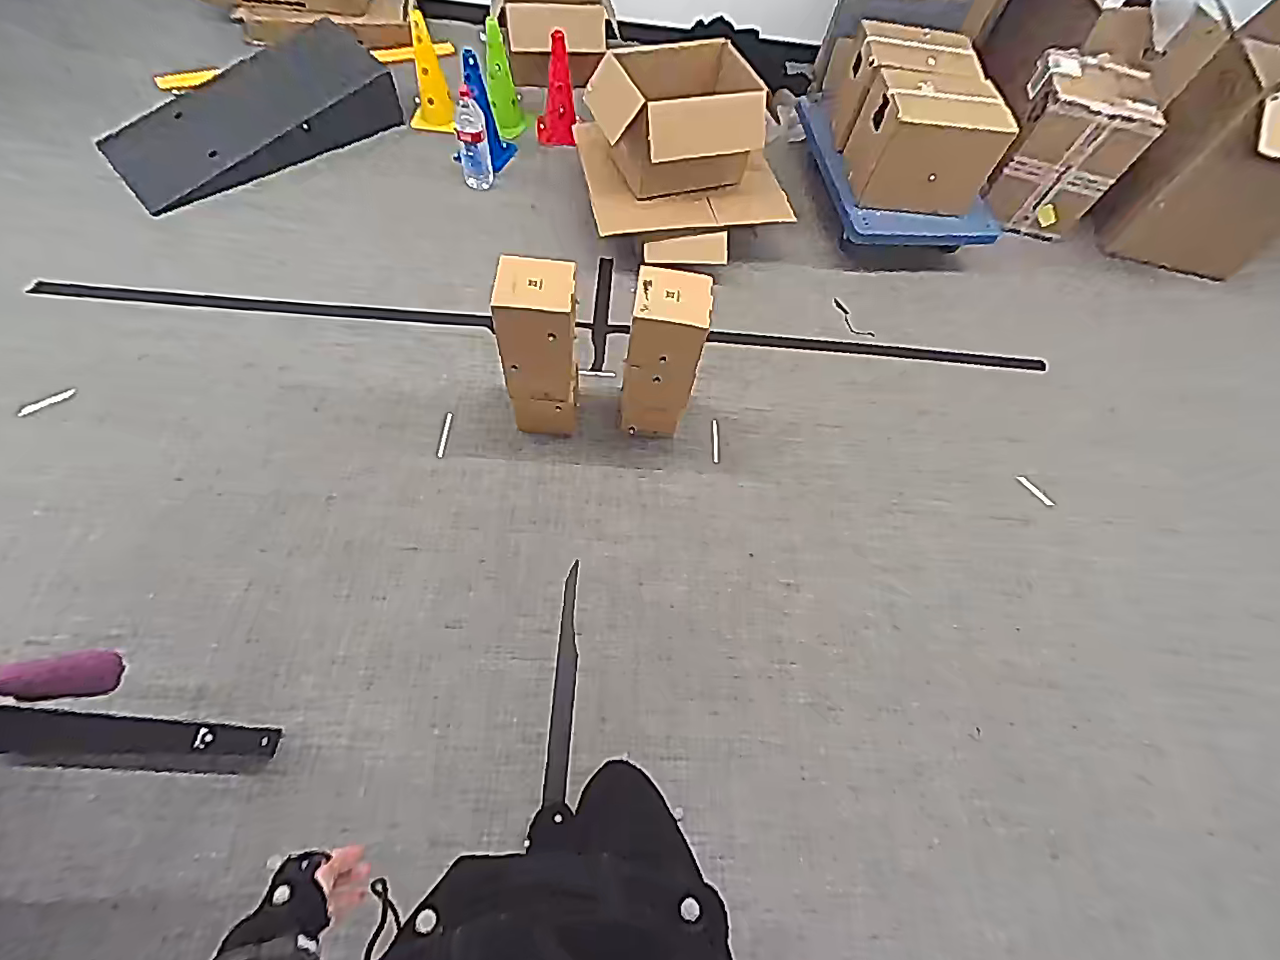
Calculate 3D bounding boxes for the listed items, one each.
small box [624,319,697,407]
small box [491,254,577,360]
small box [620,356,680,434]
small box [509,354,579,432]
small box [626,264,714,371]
[{"bbox_3d":[0.052,-0.312,1.445,0.179,0.176,0.168,6,63,-4],"label":"small box"},{"bbox_3d":[-0.242,-0.401,1.275,0.179,0.176,0.168,3,61,-5],"label":"small box"},{"bbox_3d":[0.031,-0.253,1.599,0.168,0.176,0.179,4,62,-5],"label":"small box"},{"bbox_3d":[-0.272,-0.254,1.566,0.179,0.176,0.168,5,62,-4],"label":"small box"},{"bbox_3d":[0.069,-0.383,1.299,0.179,0.176,0.168,9,63,-3],"label":"small box"}]
